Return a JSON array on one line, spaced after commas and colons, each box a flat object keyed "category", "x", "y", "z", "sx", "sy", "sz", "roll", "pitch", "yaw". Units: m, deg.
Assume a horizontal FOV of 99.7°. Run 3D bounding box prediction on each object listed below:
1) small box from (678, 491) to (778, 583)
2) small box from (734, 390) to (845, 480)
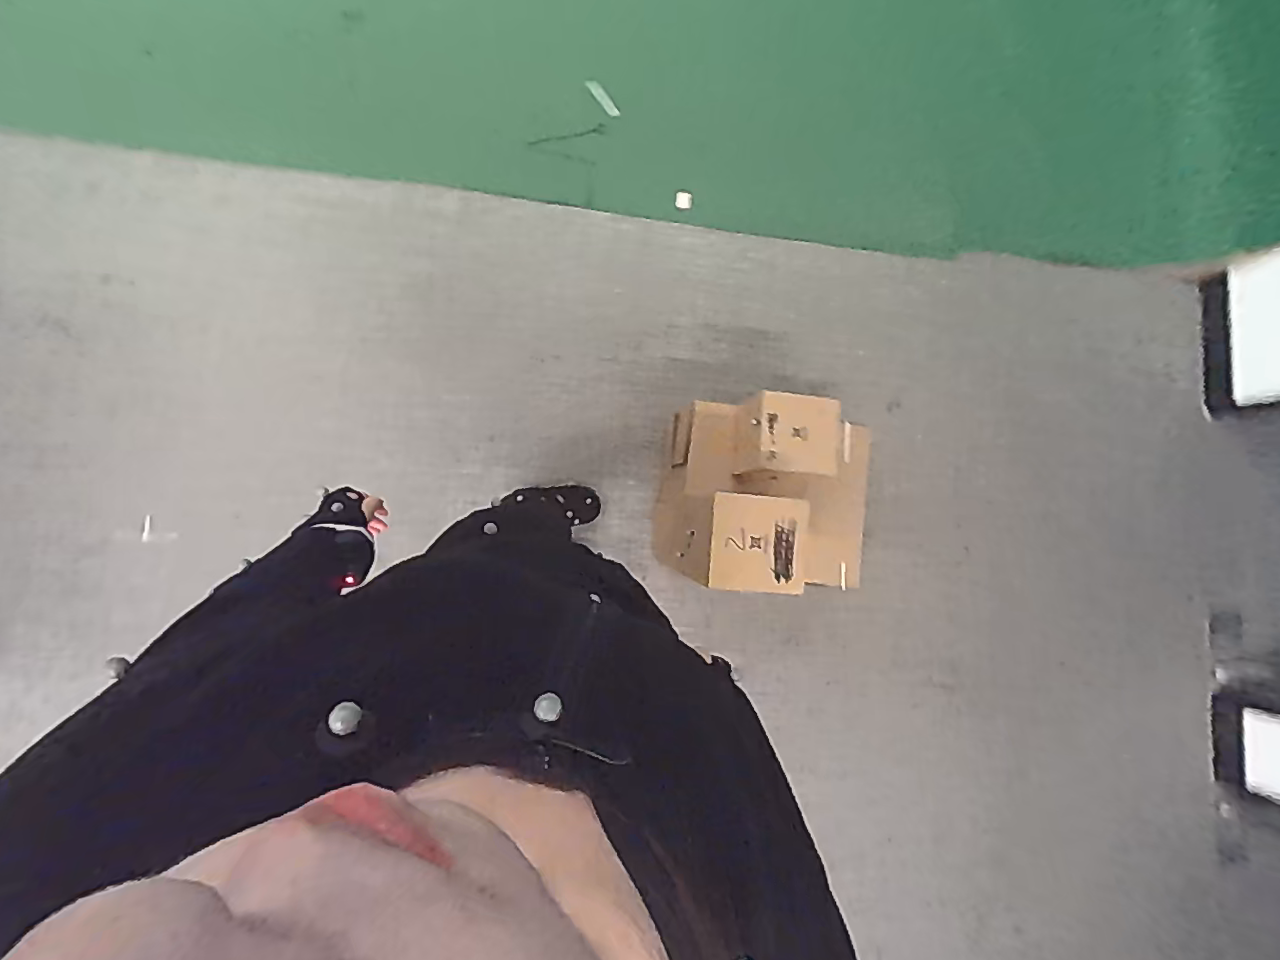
[{"category": "small box", "x": 0.182, "y": 0.119, "z": 1.163, "sx": 0.168, "sy": 0.176, "sz": 0.179, "roll": 5, "pitch": 86, "yaw": -10}, {"category": "small box", "x": 0.327, "y": -0.092, "z": 1.200, "sx": 0.179, "sy": 0.176, "sz": 0.168, "roll": 6, "pitch": 85, "yaw": -10}]
